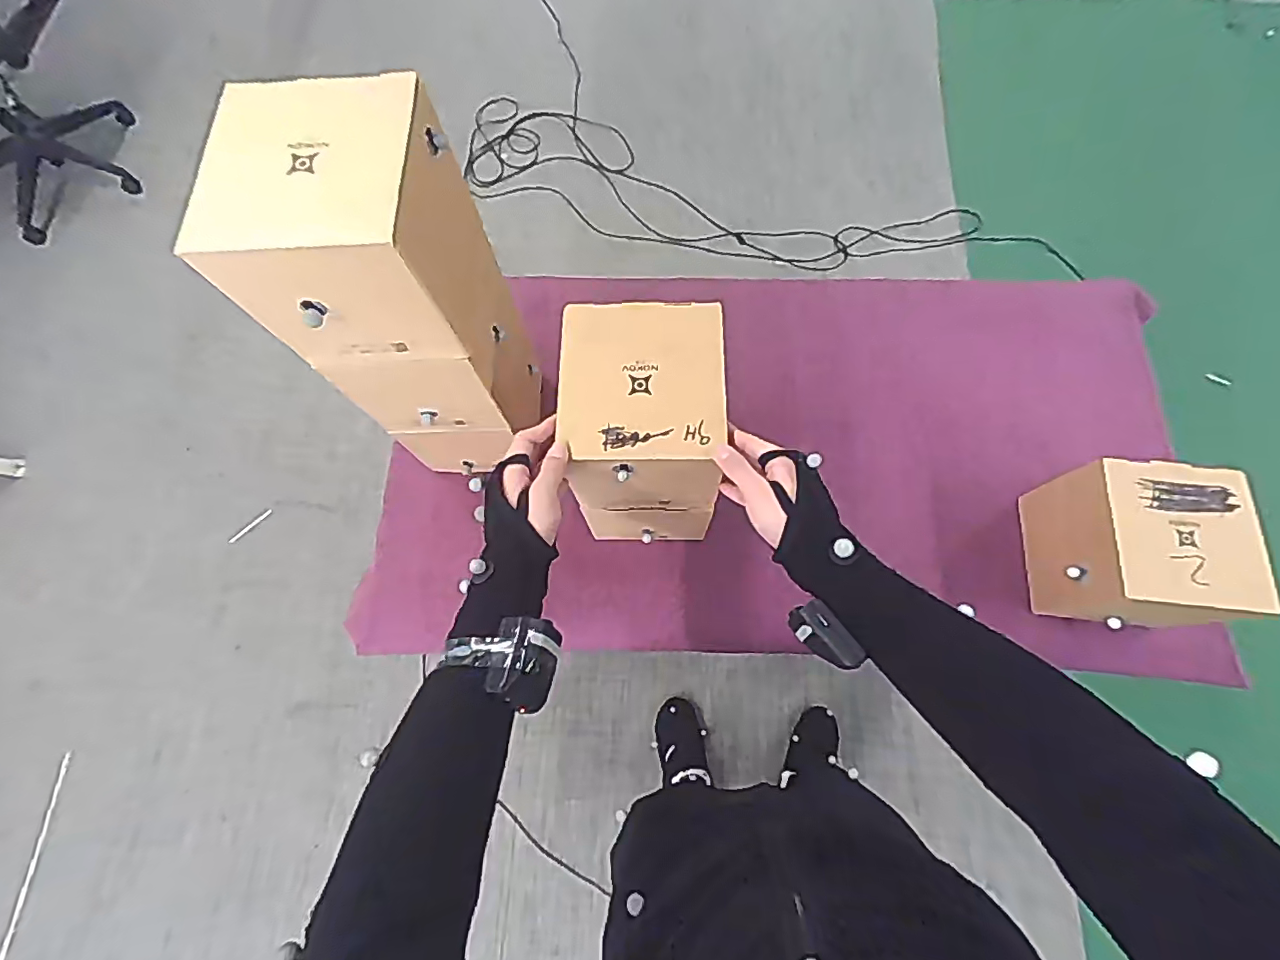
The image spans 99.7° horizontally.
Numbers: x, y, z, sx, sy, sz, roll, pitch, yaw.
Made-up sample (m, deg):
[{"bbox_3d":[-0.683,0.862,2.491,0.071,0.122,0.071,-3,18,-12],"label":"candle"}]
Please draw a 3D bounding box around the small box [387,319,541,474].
[{"bbox_3d":[-0.248,-0.118,0.808,0.168,0.176,0.179,-1,72,2],"label":"small box"}]

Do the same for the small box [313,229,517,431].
[{"bbox_3d":[-0.252,-0.172,0.653,0.168,0.176,0.179,-1,72,2],"label":"small box"}]

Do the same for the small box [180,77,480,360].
[{"bbox_3d":[-0.258,-0.222,0.499,0.168,0.176,0.179,-2,71,2],"label":"small box"}]

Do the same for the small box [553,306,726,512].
[{"bbox_3d":[0.005,-0.072,0.608,0.168,0.176,0.179,0,71,4],"label":"small box"}]

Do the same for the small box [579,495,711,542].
[{"bbox_3d":[0.010,-0.017,0.765,0.168,0.176,0.179,0,72,2],"label":"small box"}]
